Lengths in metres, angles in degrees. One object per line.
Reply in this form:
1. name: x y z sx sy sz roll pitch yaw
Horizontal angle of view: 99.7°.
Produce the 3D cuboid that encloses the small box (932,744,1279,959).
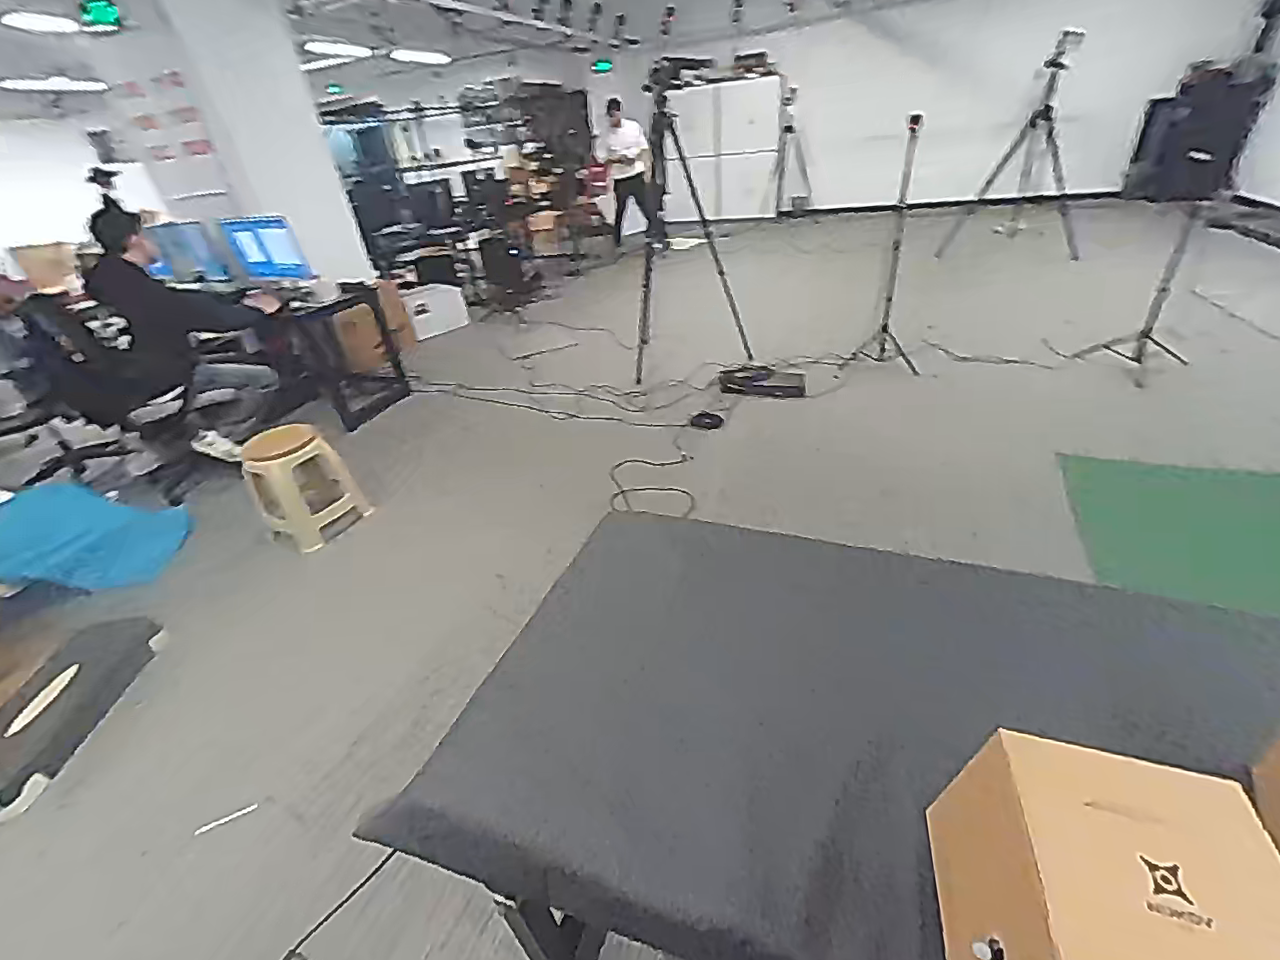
1. small box: 0.337 0.330 0.389 0.168 0.176 0.179 9 39 9
